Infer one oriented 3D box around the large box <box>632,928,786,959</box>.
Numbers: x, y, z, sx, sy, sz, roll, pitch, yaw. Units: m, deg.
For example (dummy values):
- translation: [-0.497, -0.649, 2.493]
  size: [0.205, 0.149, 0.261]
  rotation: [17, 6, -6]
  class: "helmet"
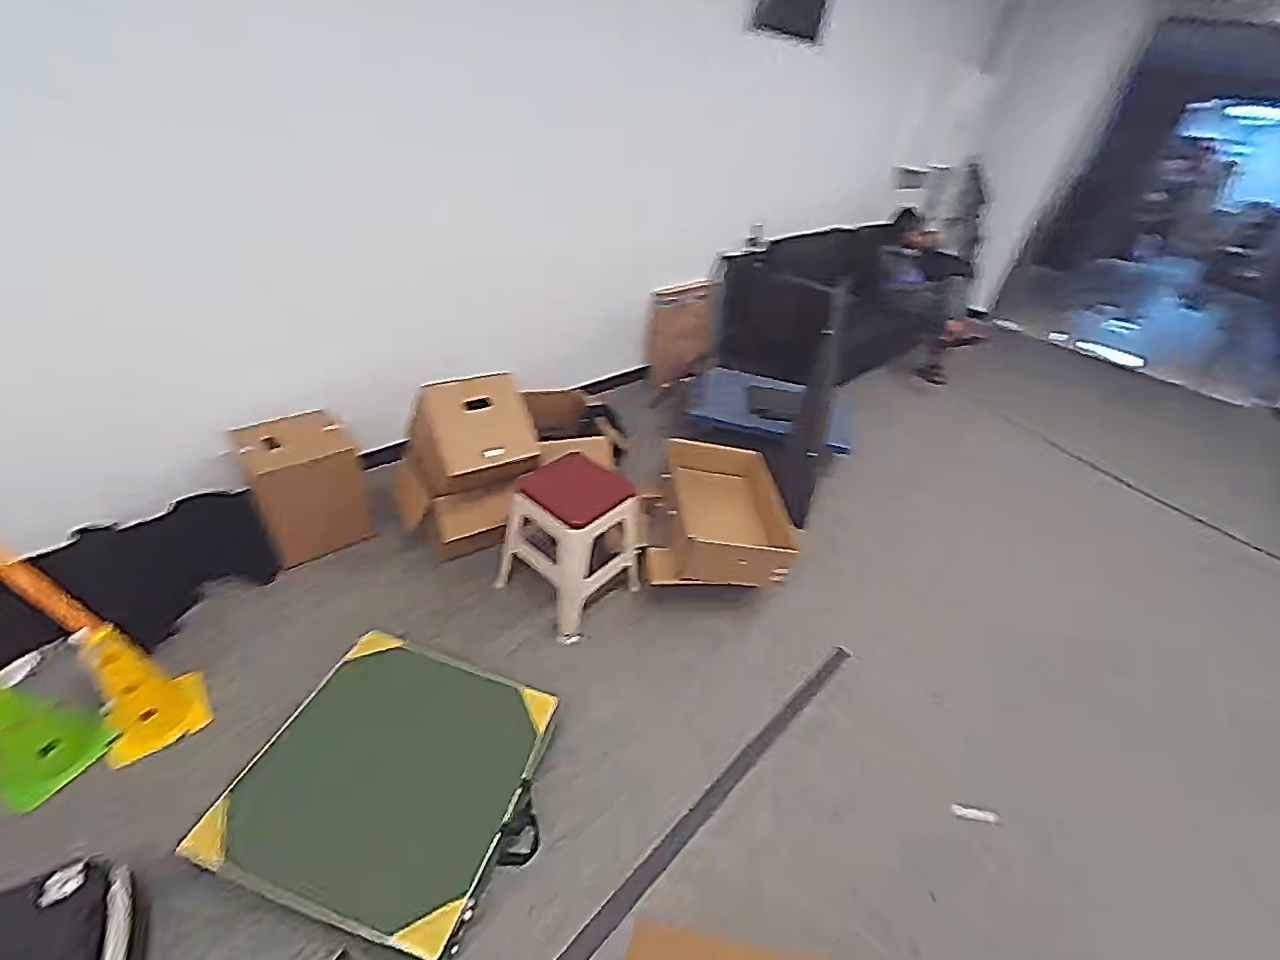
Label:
- translation: [0.161, 0.797, 0.623]
  size: [0.320, 0.408, 0.320]
  rotation: [39, 47, -8]
  class: "large box"
